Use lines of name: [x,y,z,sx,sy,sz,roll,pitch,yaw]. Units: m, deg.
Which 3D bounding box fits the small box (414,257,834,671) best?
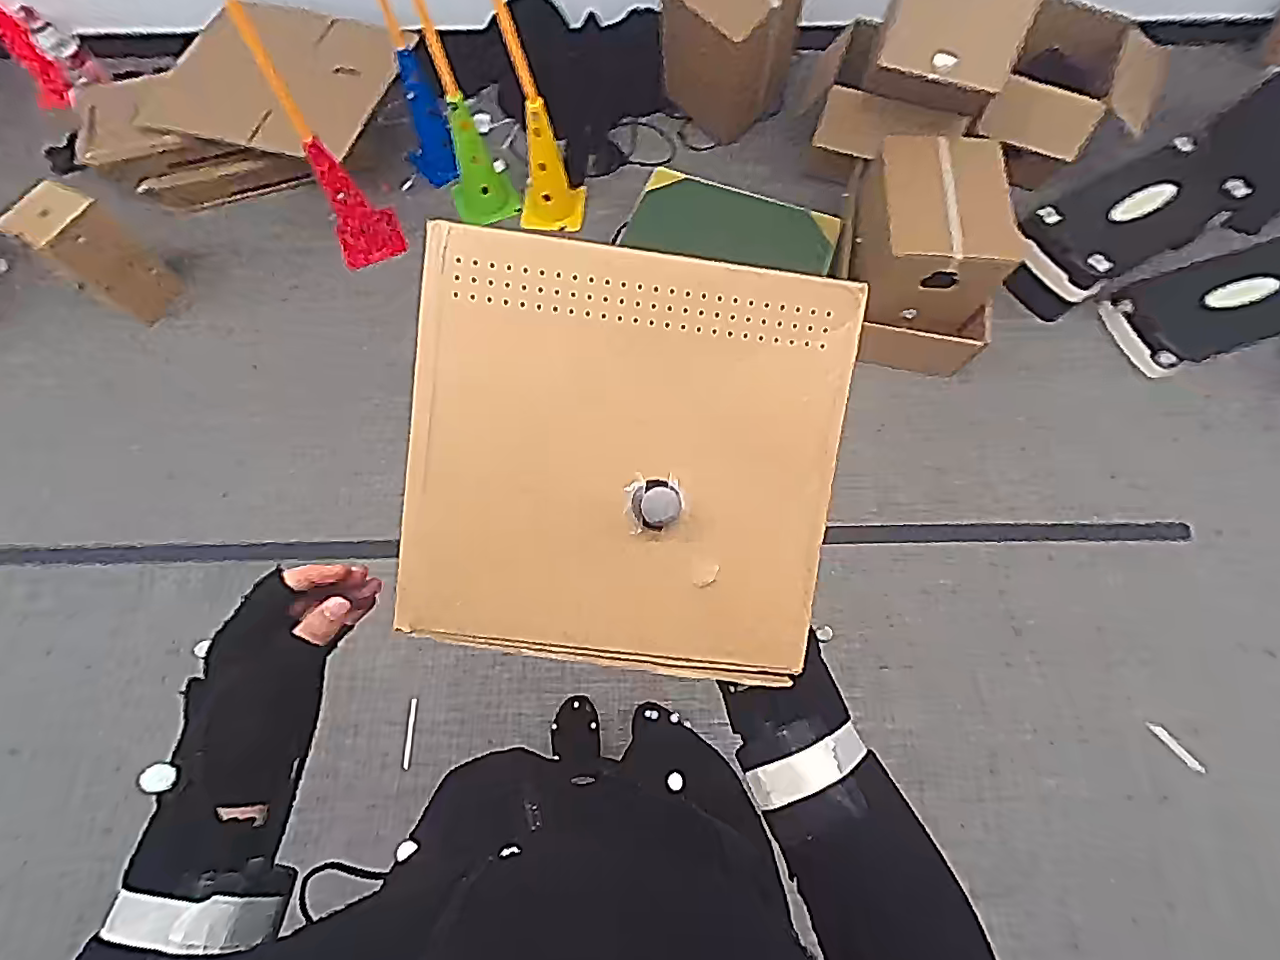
small box: [-0.010,-0.014,0.305,0.179,0.168,0.176,6,96,-4]
